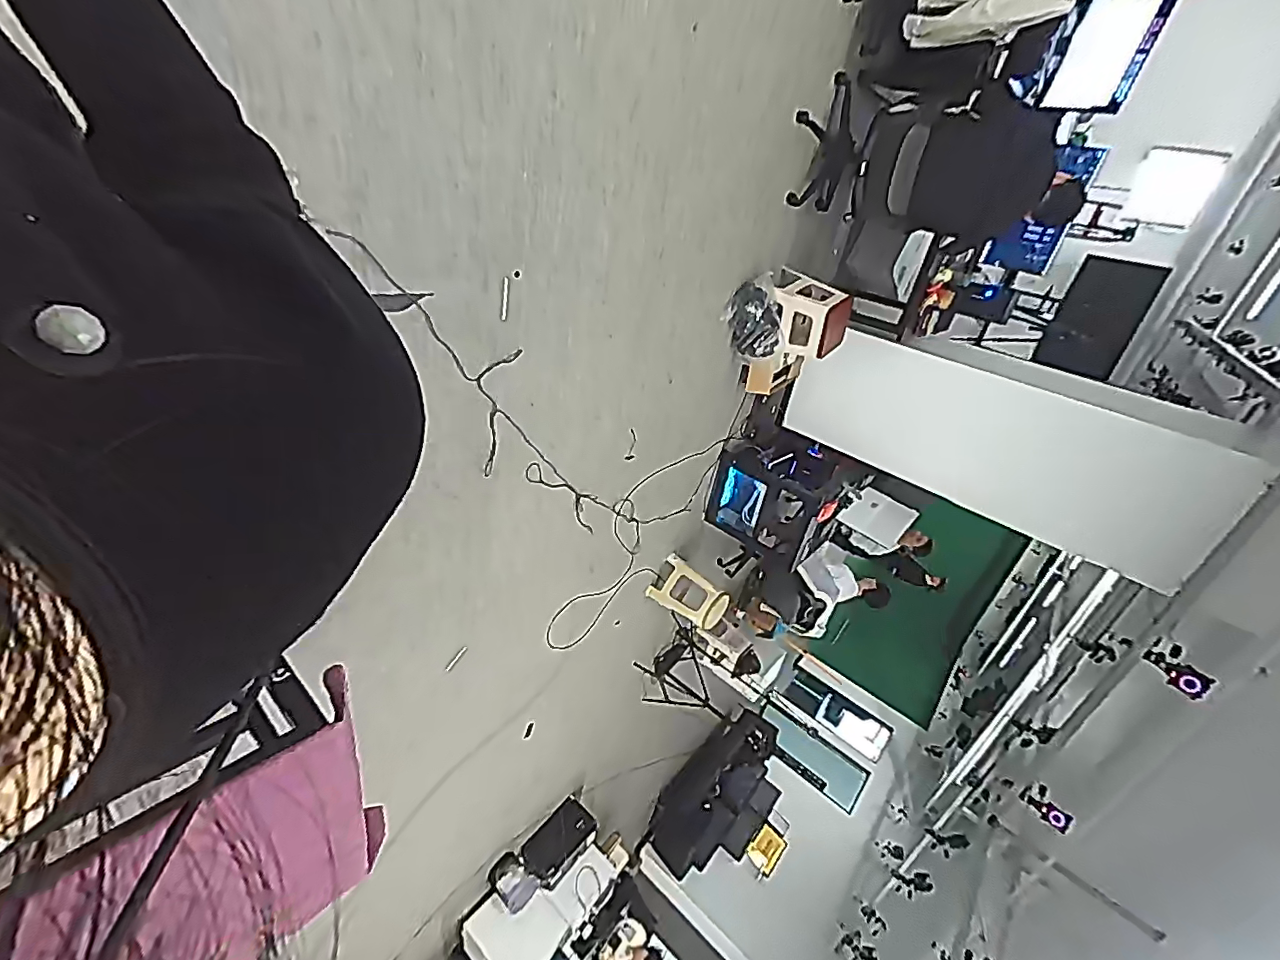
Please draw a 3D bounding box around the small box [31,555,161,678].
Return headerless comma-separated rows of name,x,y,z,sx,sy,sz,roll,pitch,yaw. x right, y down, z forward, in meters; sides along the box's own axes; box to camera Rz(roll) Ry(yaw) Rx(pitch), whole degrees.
small box,-1.234,0.302,1.231,0.168,0.176,0.179,-21,134,-47
